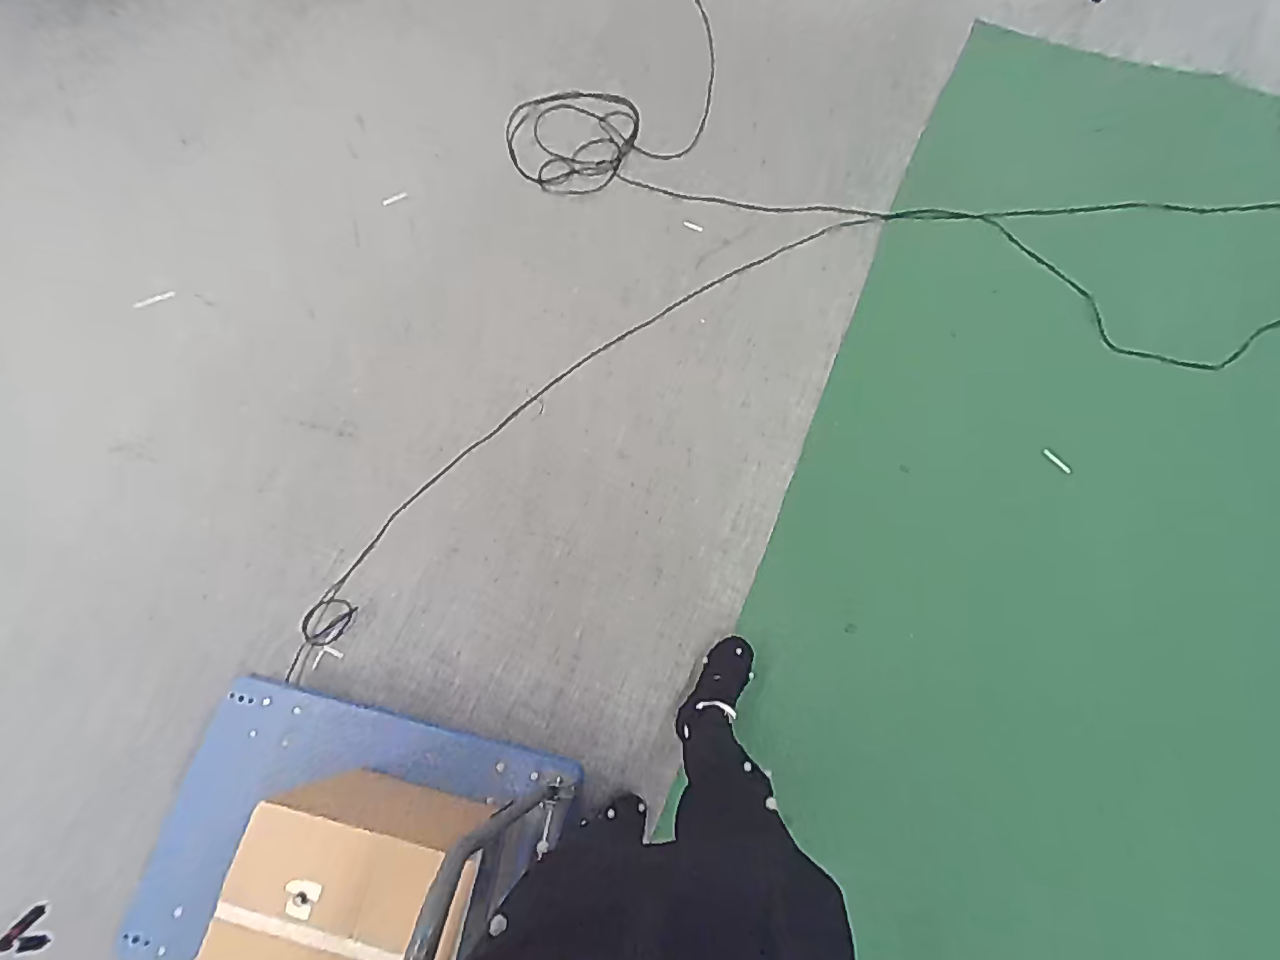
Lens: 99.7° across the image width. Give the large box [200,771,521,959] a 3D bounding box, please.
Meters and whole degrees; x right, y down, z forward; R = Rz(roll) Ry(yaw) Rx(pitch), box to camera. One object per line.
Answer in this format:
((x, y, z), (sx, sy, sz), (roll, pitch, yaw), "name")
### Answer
((-0.480, 0.775, 0.999), (0.408, 0.320, 0.320), (11, 71, 7), "large box")
